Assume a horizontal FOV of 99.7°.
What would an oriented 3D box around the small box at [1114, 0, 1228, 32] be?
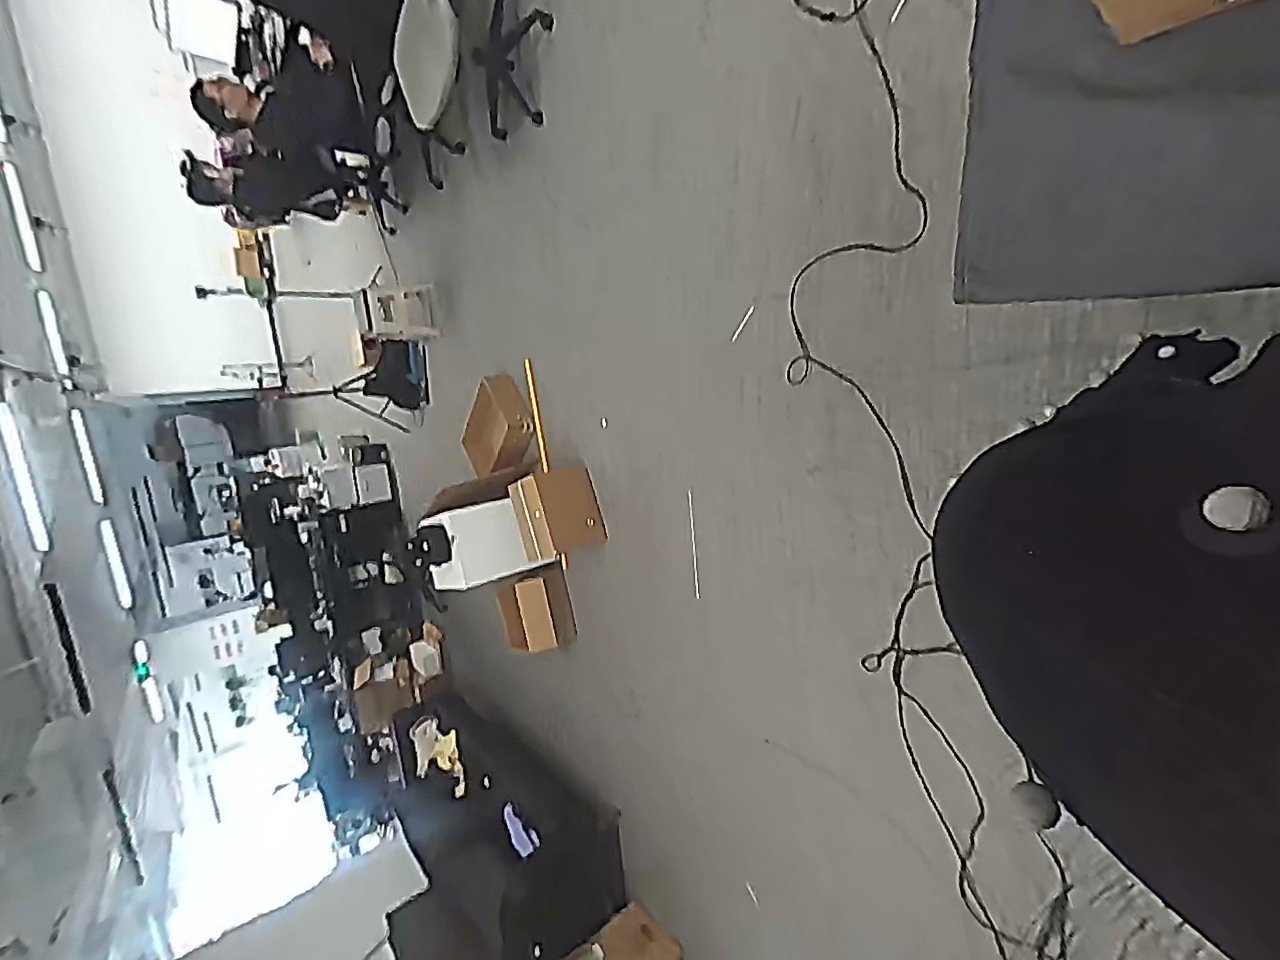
[{"bbox_3d":[0.466,-0.499,0.408,0.168,0.176,0.179,10,108,49],"label":"small box"}]
